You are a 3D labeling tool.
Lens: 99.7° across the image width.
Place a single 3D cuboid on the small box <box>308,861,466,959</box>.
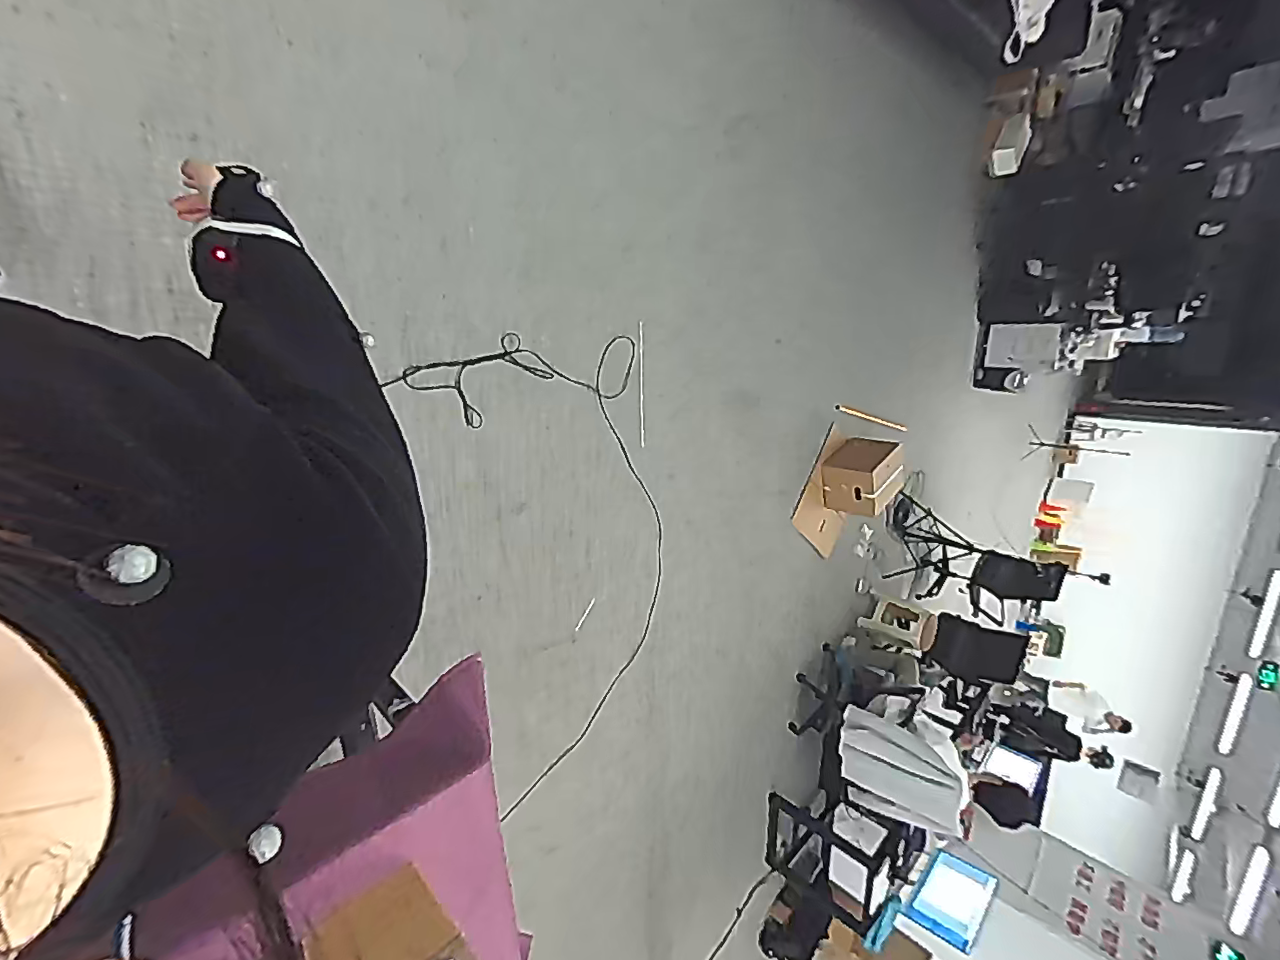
[{"bbox_3d":[-0.381,0.747,0.831,0.179,0.176,0.168,-15,112,-41],"label":"small box"}]
